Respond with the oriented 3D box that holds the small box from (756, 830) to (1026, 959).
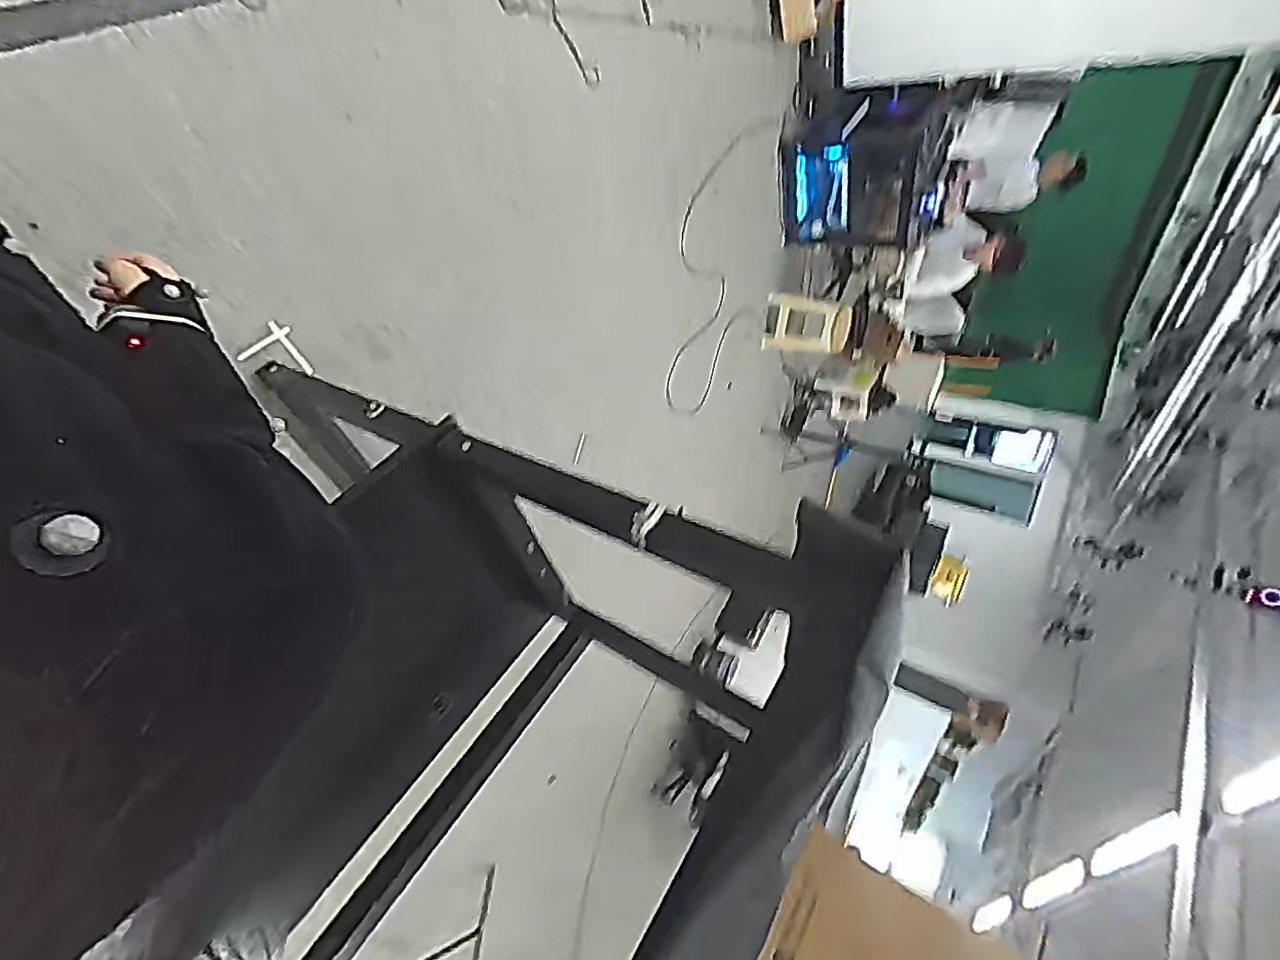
[{"bbox_3d":[0.196,0.438,0.463,0.168,0.176,0.179,-52,144,-25],"label":"small box"}]
